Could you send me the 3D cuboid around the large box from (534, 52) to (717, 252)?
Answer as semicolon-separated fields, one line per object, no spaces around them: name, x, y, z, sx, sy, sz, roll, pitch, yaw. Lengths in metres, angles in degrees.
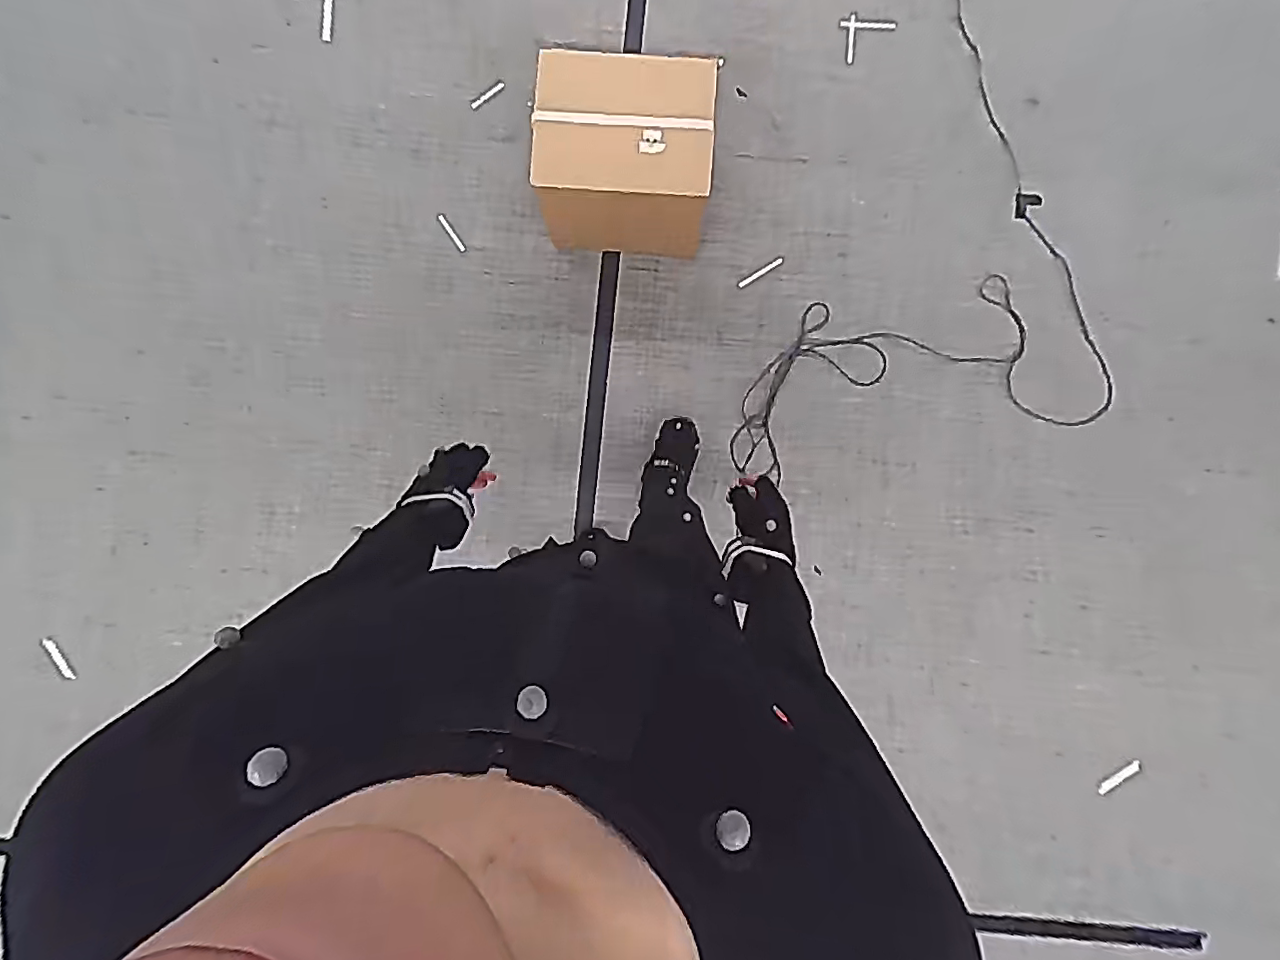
large box;-0.034;-0.794;1.355;0.408;0.320;0.320;4;89;0
